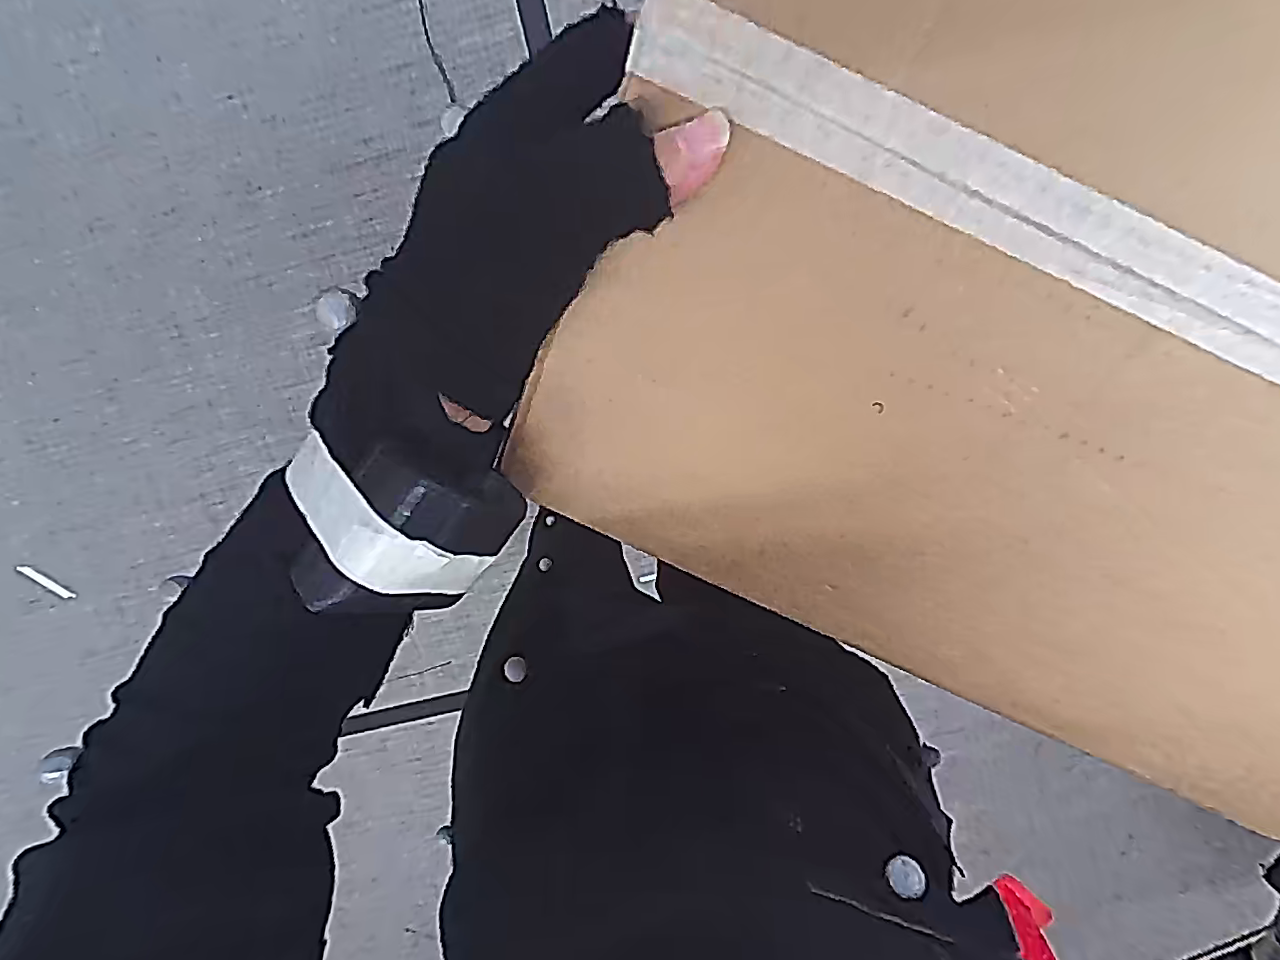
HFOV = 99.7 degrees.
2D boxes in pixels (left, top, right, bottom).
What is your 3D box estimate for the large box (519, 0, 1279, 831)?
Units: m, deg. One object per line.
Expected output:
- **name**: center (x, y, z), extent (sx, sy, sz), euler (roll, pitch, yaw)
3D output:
- **large box**: center (0.204, -0.100, 0.302), extent (0.408, 0.320, 0.320), euler (24, 118, -2)
